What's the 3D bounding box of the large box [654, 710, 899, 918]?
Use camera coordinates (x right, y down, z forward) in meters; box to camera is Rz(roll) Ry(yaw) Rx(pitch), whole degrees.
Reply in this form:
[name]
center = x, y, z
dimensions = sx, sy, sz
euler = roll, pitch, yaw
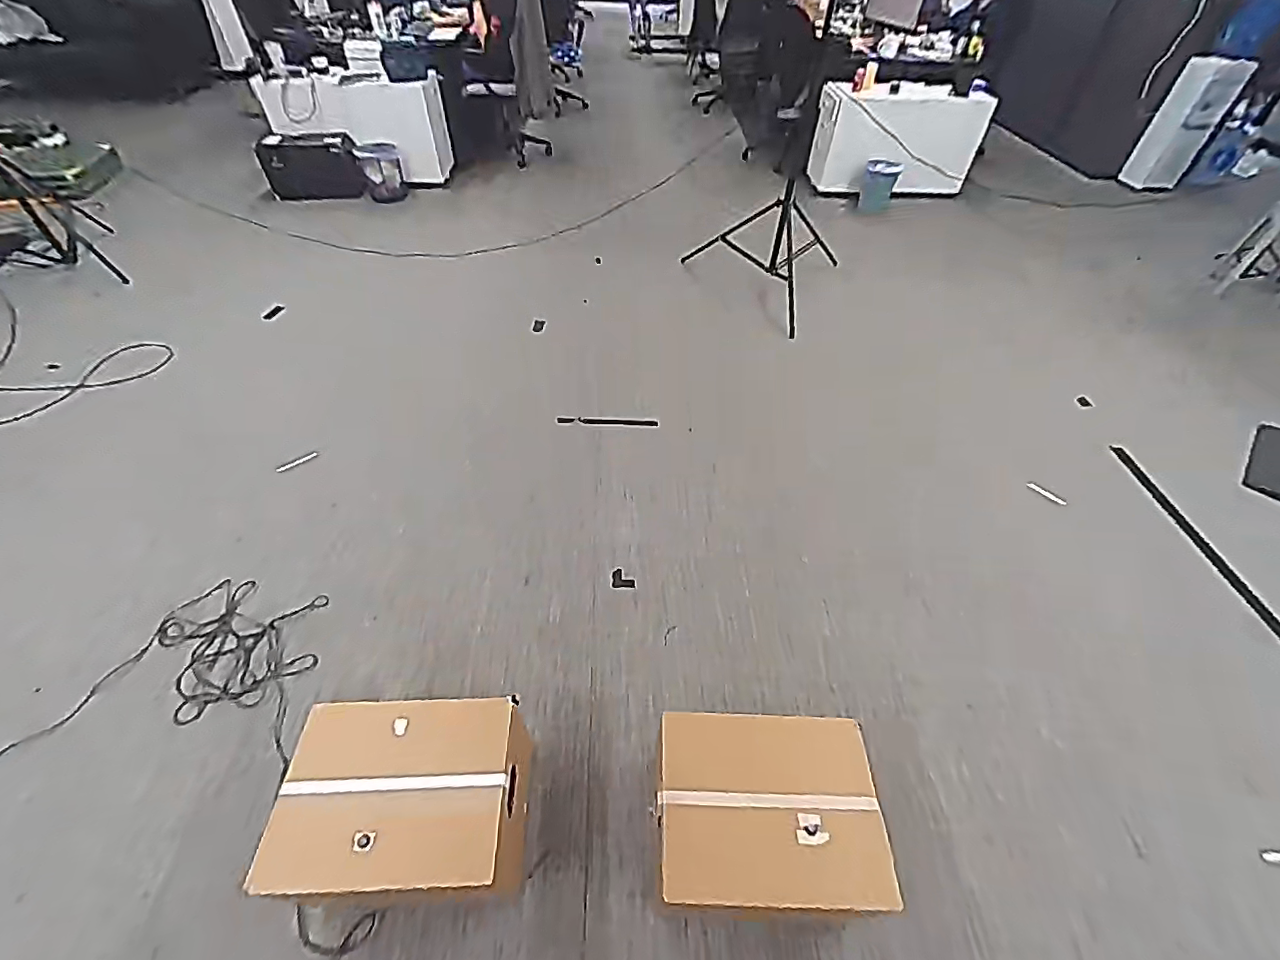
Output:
[large box]
center = 0.239, 0.696, 1.121
dimensions = 0.408, 0.320, 0.320
euler = 3, 47, -1
